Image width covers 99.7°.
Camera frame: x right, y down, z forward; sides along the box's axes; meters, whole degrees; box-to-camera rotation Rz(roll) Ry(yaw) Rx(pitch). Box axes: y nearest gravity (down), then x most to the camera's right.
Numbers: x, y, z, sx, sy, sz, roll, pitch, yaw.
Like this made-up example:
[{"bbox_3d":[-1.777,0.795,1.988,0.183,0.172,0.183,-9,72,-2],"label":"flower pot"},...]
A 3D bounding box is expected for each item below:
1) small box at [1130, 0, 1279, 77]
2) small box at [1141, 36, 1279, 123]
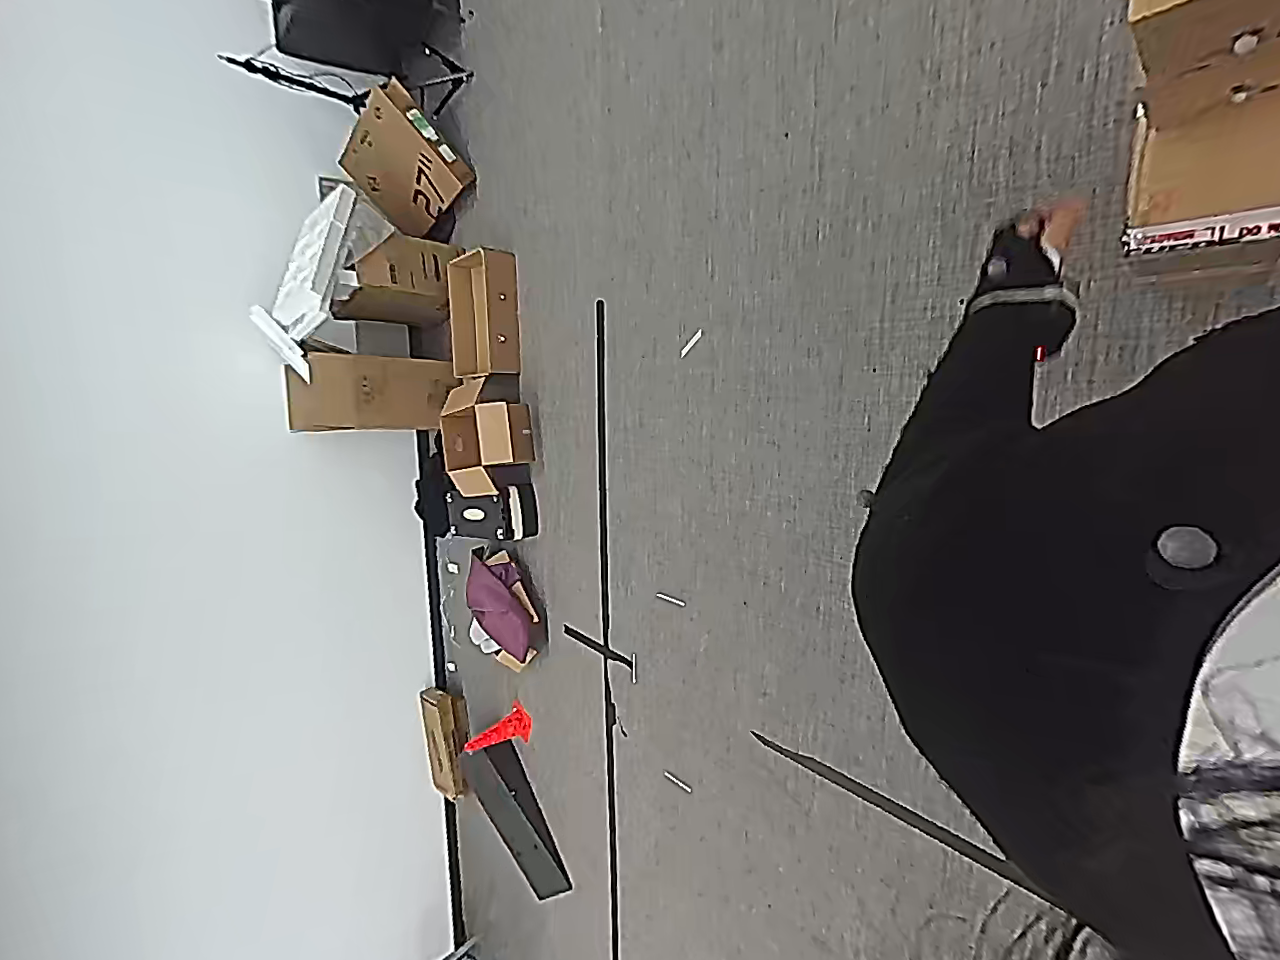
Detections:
[{"bbox_3d":[0.565,-0.508,0.477,0.168,0.176,0.179,10,106,48],"label":"small box"},{"bbox_3d":[0.678,-0.537,0.594,0.168,0.176,0.179,5,102,49],"label":"small box"}]
